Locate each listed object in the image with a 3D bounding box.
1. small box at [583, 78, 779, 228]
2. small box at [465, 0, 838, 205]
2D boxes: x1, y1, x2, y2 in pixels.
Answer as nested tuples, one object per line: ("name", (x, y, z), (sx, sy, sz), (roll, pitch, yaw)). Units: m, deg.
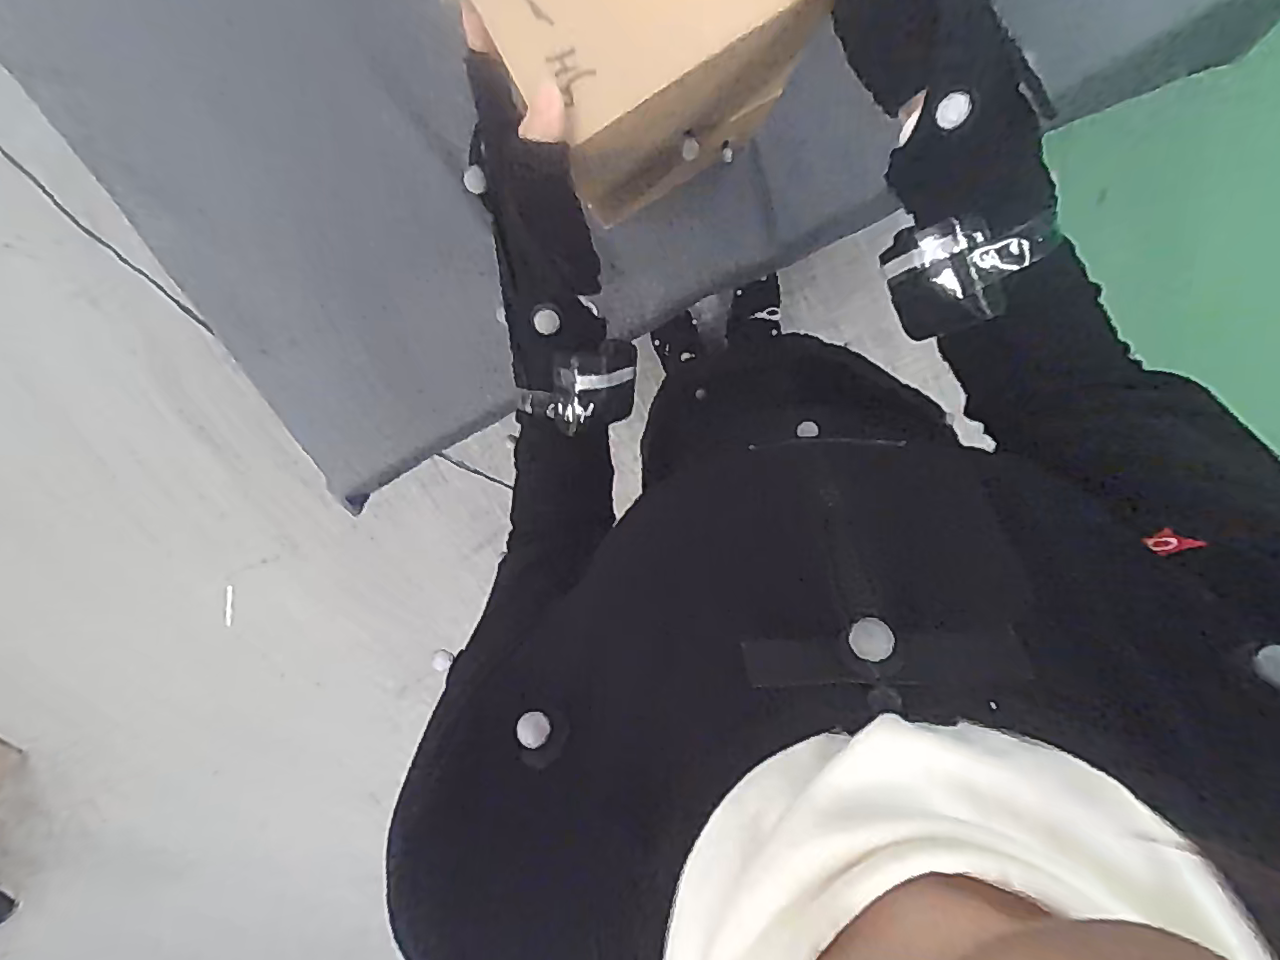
("small box", (-0.002, -0.354, 0.487), (0.179, 0.176, 0.168), (-28, 105, 11))
("small box", (-0.008, -0.301, 0.334), (0.179, 0.176, 0.168), (-29, 106, 11))
